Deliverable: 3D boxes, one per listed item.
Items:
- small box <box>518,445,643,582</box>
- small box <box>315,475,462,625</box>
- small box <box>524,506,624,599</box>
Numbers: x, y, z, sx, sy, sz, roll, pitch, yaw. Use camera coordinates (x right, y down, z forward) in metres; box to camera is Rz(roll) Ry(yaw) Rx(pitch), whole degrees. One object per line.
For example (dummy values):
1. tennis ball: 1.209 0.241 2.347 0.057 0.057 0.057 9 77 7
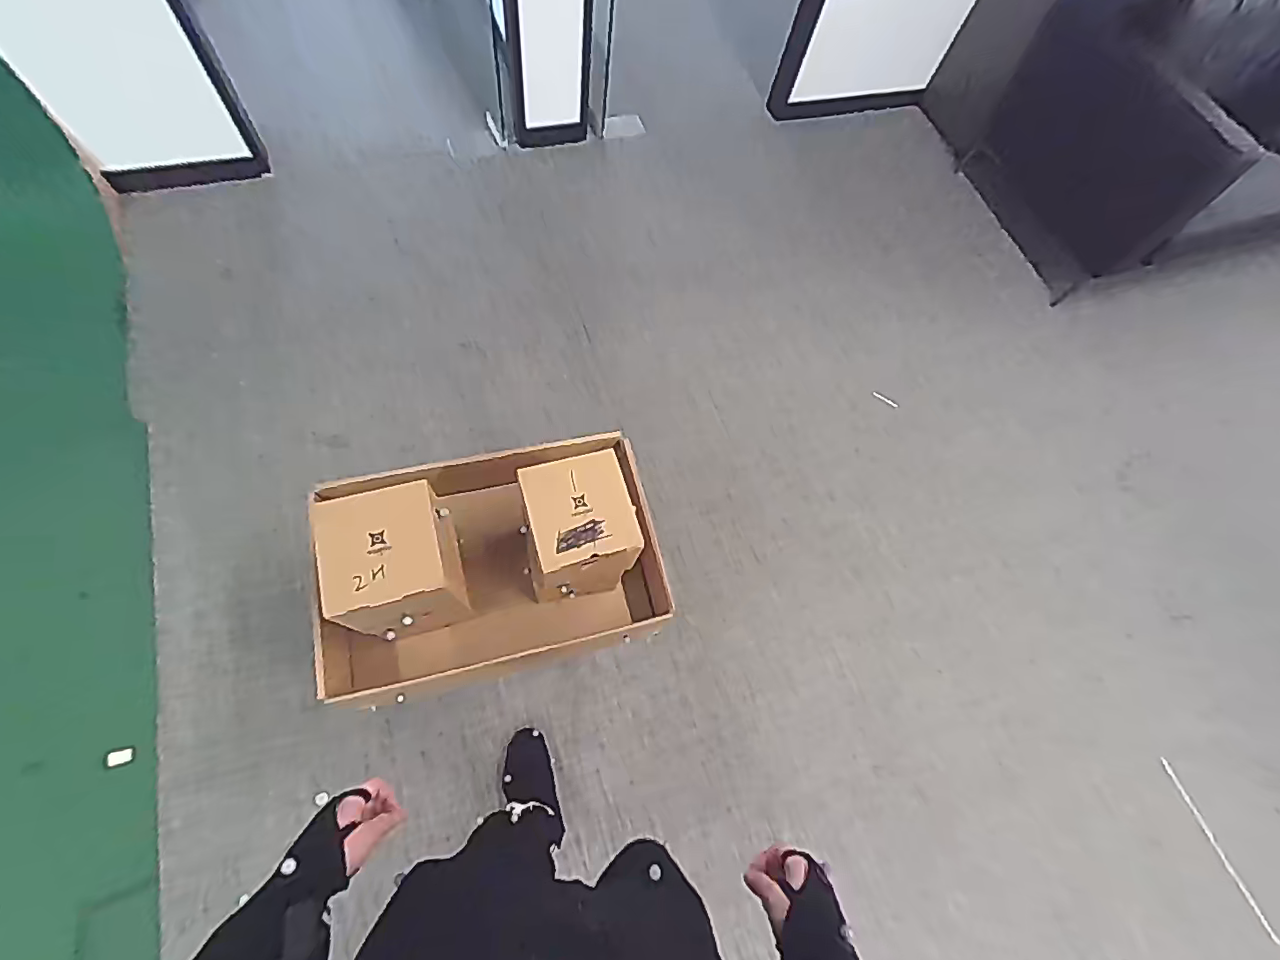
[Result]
1. small box: -0.105 0.066 0.925 0.168 0.176 0.179 -13 70 -14
2. small box: -0.390 0.116 0.858 0.168 0.176 0.179 -13 70 -13
3. small box: -0.138 0.124 1.075 0.168 0.176 0.179 -9 70 -13
